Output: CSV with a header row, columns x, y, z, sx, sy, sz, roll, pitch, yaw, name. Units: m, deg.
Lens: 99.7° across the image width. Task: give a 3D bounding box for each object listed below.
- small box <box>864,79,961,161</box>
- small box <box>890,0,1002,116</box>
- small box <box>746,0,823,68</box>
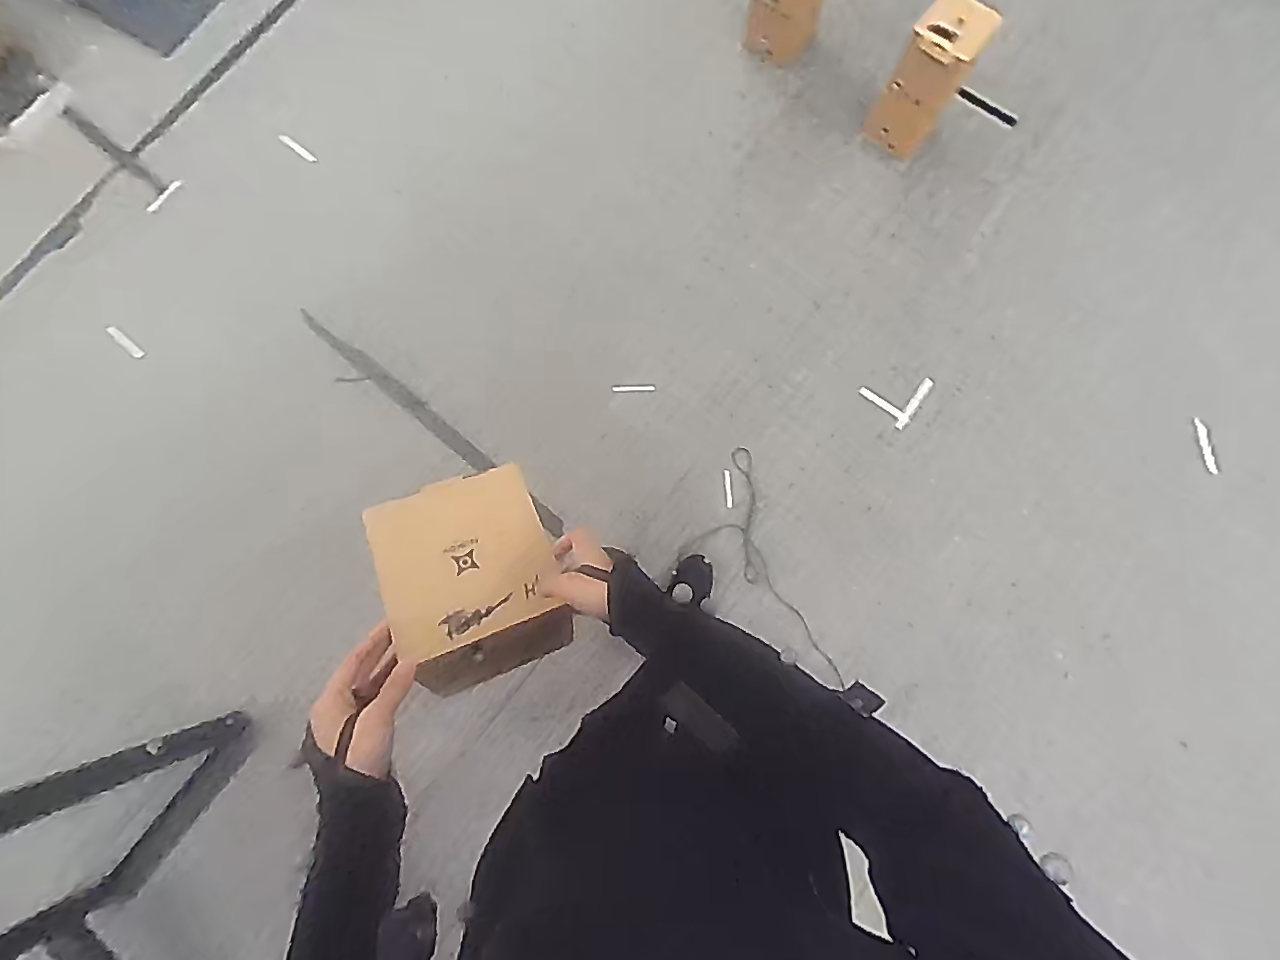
x,y,z,sx,sy,sz,roll,pitch,yaw,name
0.800,-1.105,1.603,0.168,0.176,0.179,40,85,8,small box
0.800,-1.129,1.440,0.168,0.176,0.179,40,84,7,small box
0.447,-1.443,1.675,0.168,0.176,0.179,36,83,8,small box
